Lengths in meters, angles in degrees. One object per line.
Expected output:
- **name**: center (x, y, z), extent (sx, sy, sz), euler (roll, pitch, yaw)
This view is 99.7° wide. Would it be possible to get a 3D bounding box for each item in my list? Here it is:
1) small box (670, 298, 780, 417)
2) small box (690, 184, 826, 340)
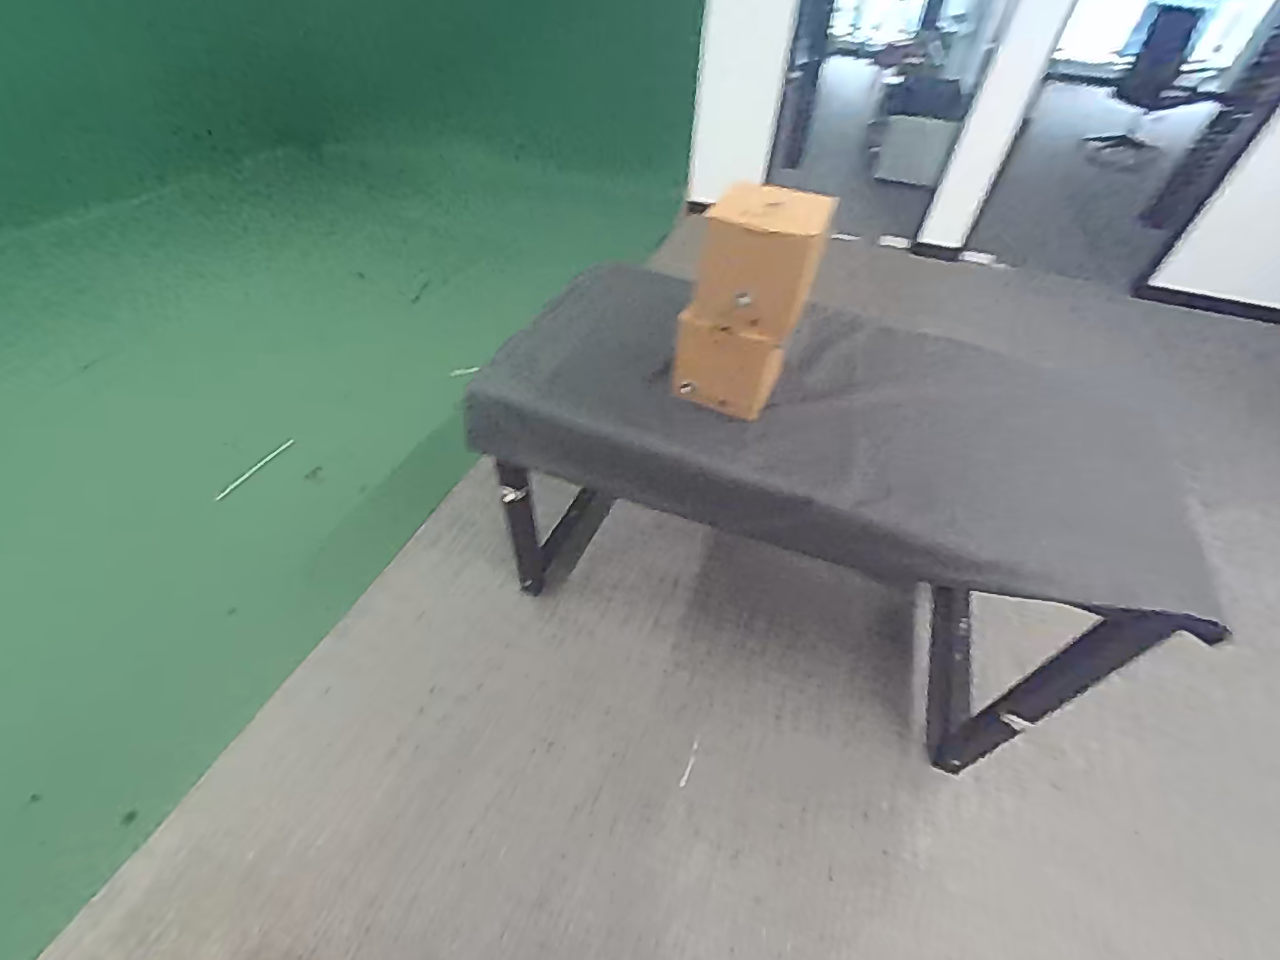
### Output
- **small box**: center (0.162, -0.243, 1.003), extent (0.168, 0.176, 0.179), euler (21, 47, 15)
- **small box**: center (0.188, -0.357, 0.887), extent (0.168, 0.176, 0.179), euler (18, 47, 14)
